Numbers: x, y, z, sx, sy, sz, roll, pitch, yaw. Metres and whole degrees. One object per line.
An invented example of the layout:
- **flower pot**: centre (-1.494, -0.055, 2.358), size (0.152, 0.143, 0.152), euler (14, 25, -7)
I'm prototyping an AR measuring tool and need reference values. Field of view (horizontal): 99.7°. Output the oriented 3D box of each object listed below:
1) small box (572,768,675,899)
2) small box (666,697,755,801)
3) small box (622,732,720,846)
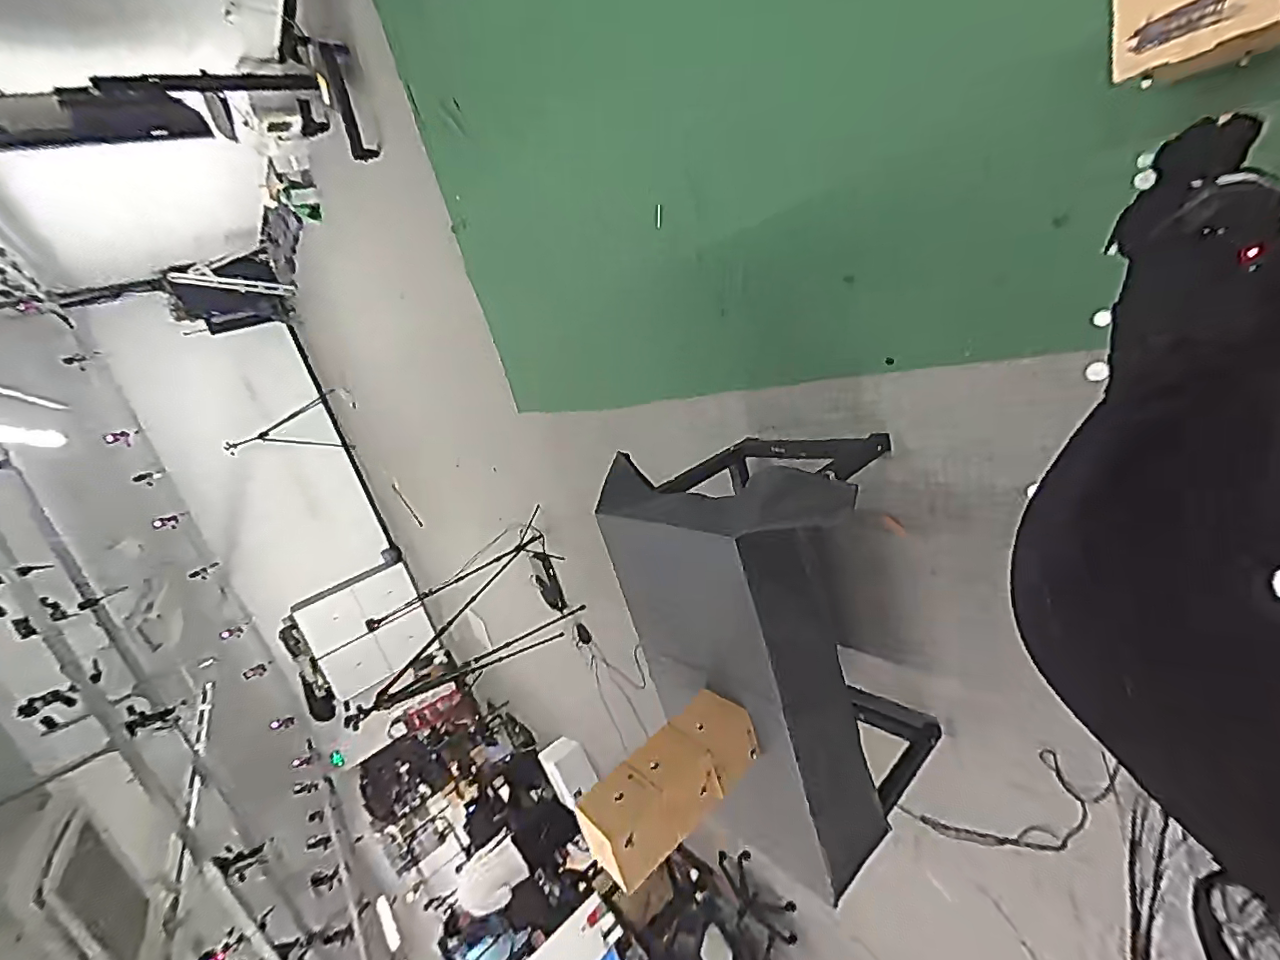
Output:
- **small box**: centre (-0.039, 0.867, 1.348), size (0.168, 0.176, 0.179), euler (6, 116, 53)
- **small box**: centre (0.206, 0.748, 1.530), size (0.179, 0.176, 0.168), euler (4, 115, 54)
- **small box**: centre (0.085, 0.808, 1.441), size (0.179, 0.176, 0.168), euler (3, 114, 53)
